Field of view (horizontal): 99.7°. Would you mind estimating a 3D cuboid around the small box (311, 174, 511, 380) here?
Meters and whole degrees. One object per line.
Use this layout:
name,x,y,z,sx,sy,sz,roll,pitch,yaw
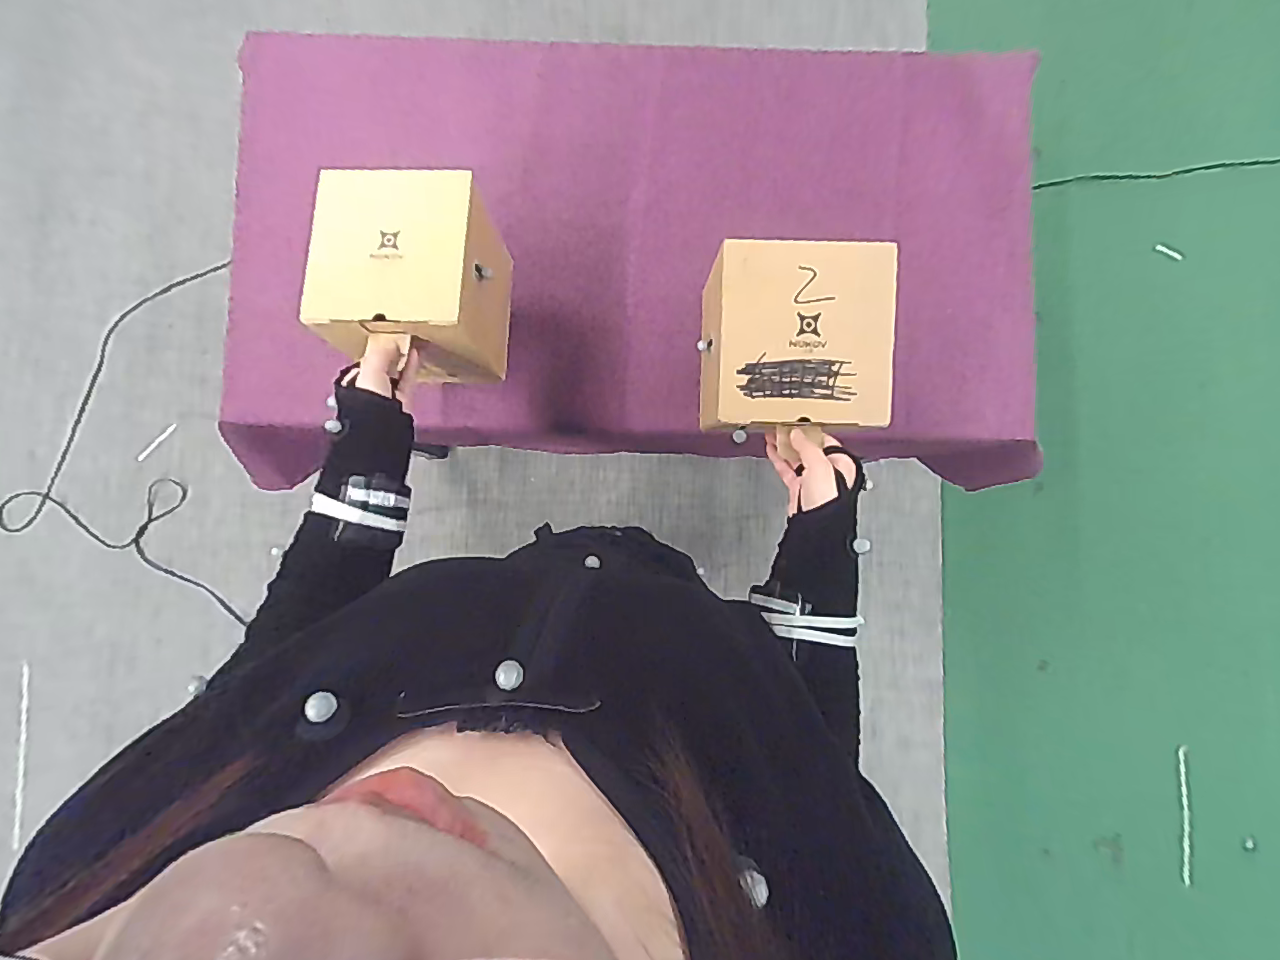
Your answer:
small box,-0.259,-0.235,0.657,0.168,0.176,0.179,1,80,2
